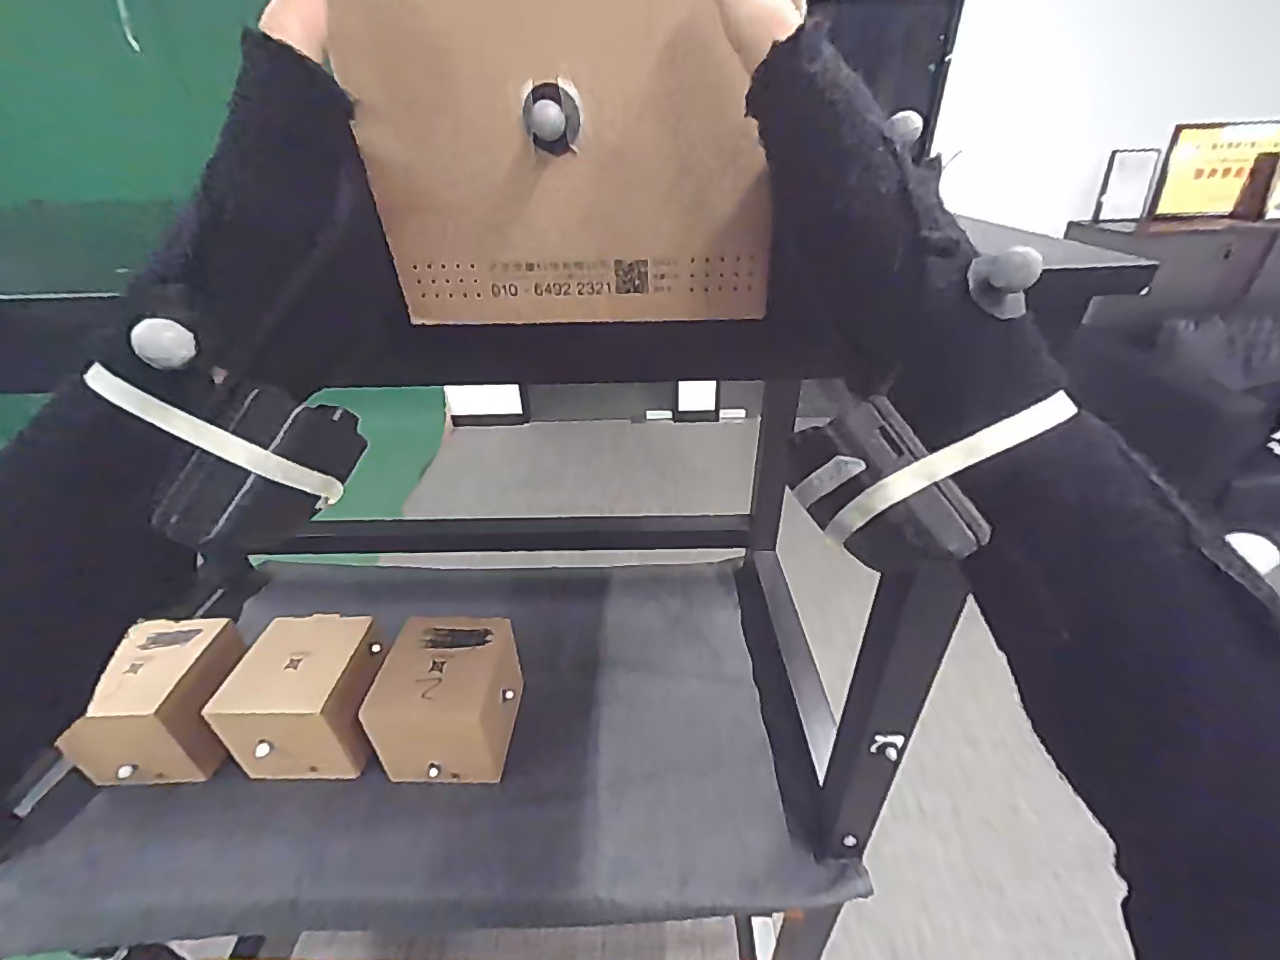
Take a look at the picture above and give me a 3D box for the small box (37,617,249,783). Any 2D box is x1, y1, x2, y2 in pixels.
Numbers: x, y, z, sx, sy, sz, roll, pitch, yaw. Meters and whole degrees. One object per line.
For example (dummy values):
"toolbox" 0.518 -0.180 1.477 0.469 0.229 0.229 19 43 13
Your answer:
"small box" -0.728 0.336 0.835 0.168 0.176 0.179 -2 32 -1

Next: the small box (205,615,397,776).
"small box" -0.501 0.332 0.836 0.168 0.176 0.179 0 31 1

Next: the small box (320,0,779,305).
"small box" -0.028 -0.195 0.266 0.168 0.176 0.179 0 39 2
